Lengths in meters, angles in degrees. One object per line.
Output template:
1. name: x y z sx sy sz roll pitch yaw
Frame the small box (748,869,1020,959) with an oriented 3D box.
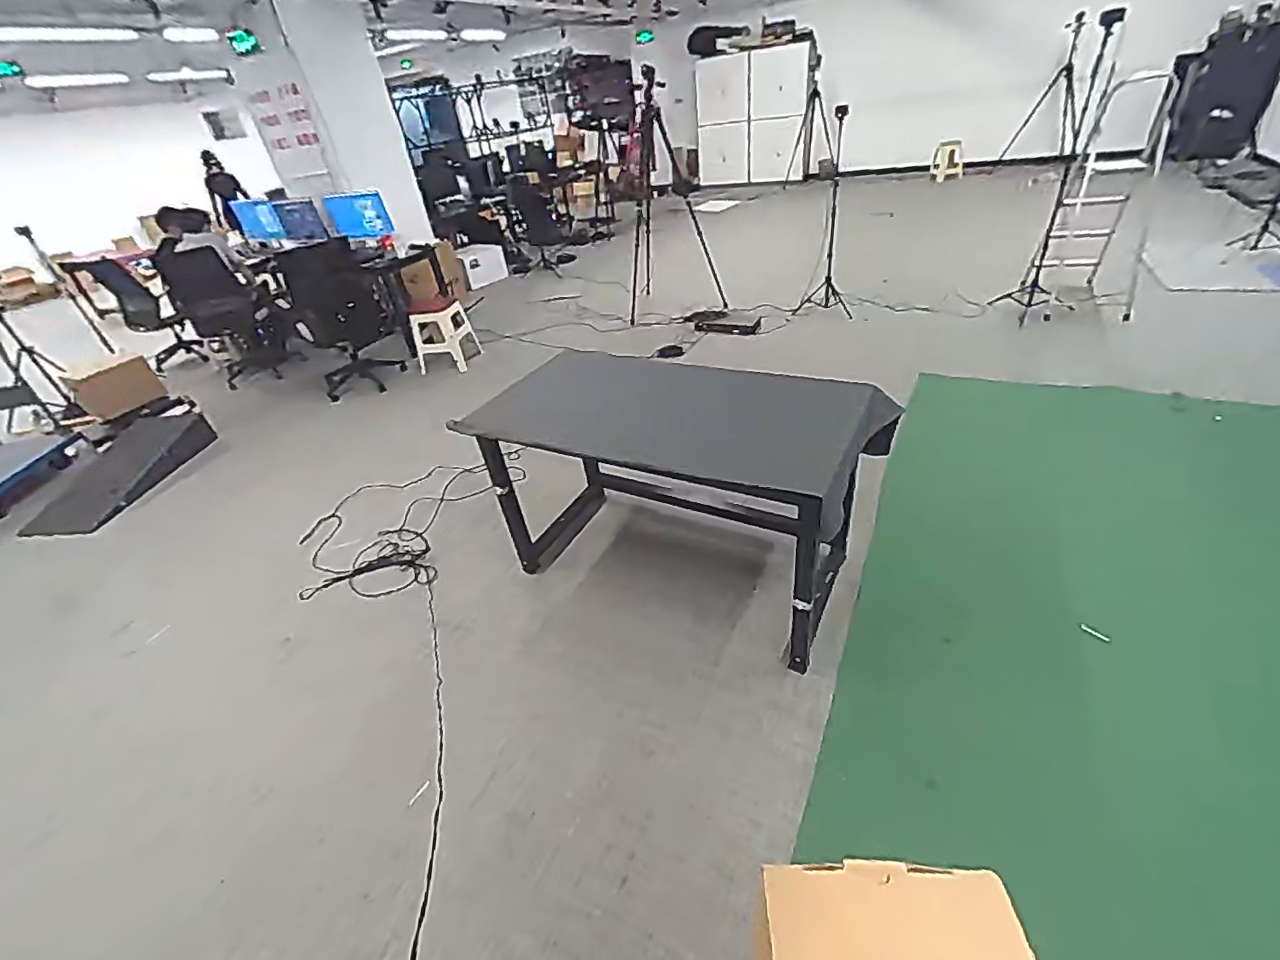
1. small box: 0.165 0.398 0.365 0.168 0.176 0.179 -2 35 5
